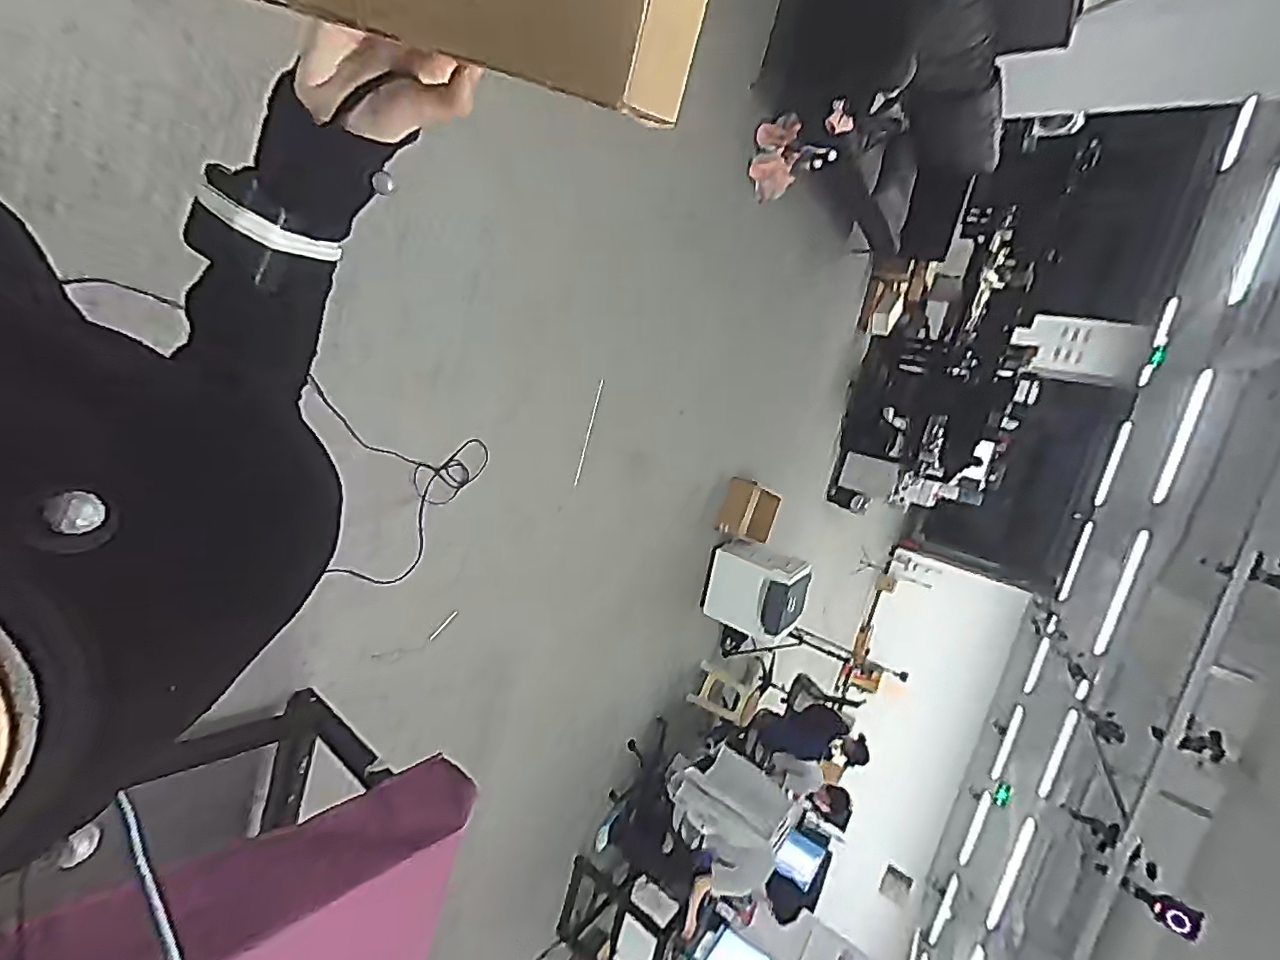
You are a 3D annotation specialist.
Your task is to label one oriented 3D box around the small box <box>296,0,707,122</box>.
[{"bbox_3d":[-0.046,-0.275,0.226,0.179,0.168,0.176,-73,-179,-57],"label":"small box"}]
